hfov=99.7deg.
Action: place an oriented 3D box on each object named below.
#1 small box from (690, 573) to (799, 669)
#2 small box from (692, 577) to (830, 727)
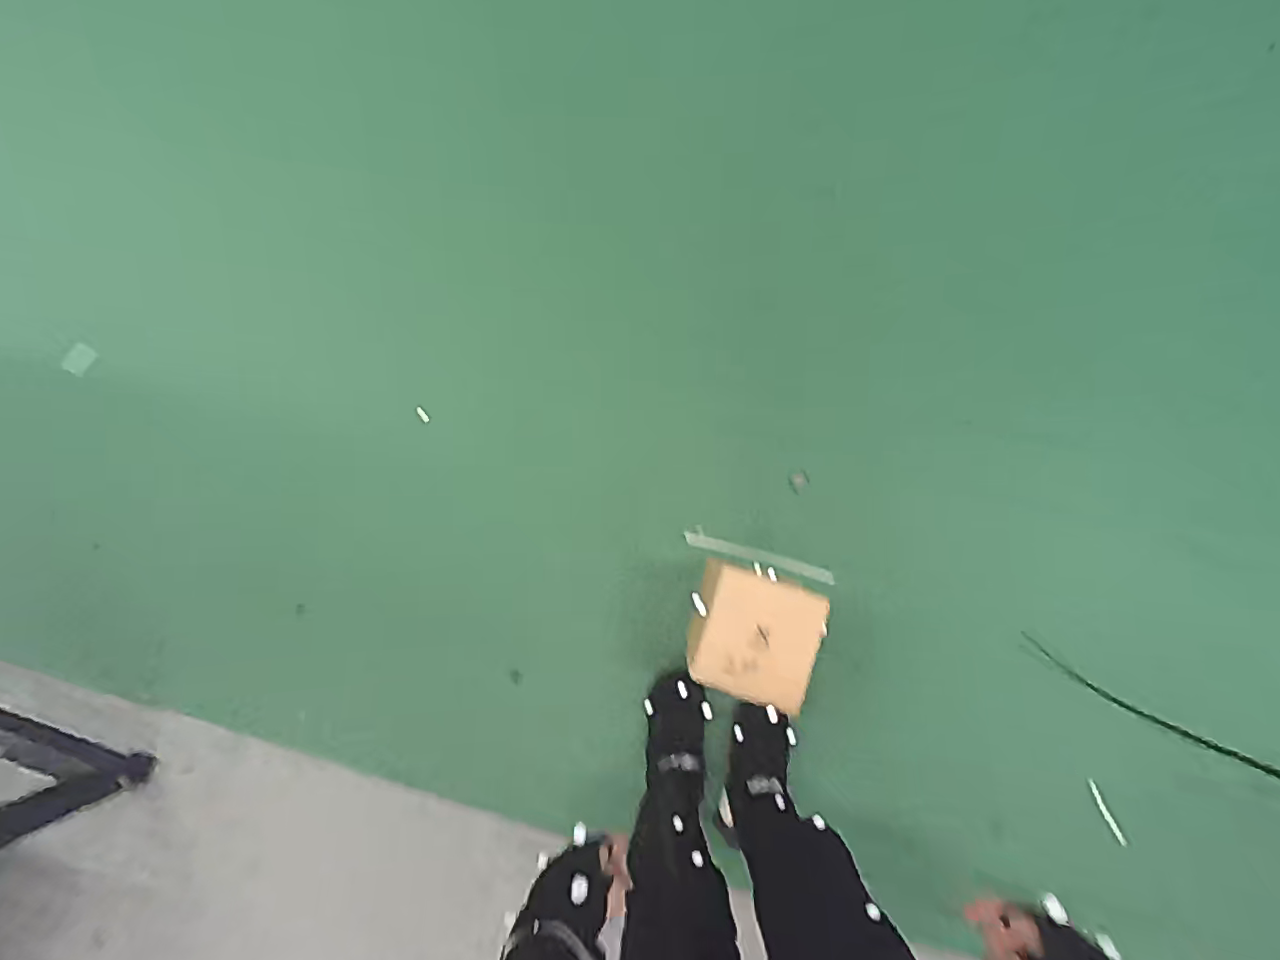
[{"bbox_3d":[0.198,0.288,1.048,0.168,0.176,0.179,16,83,6],"label":"small box"},{"bbox_3d":[0.185,0.266,0.884,0.168,0.176,0.179,18,84,6],"label":"small box"}]
